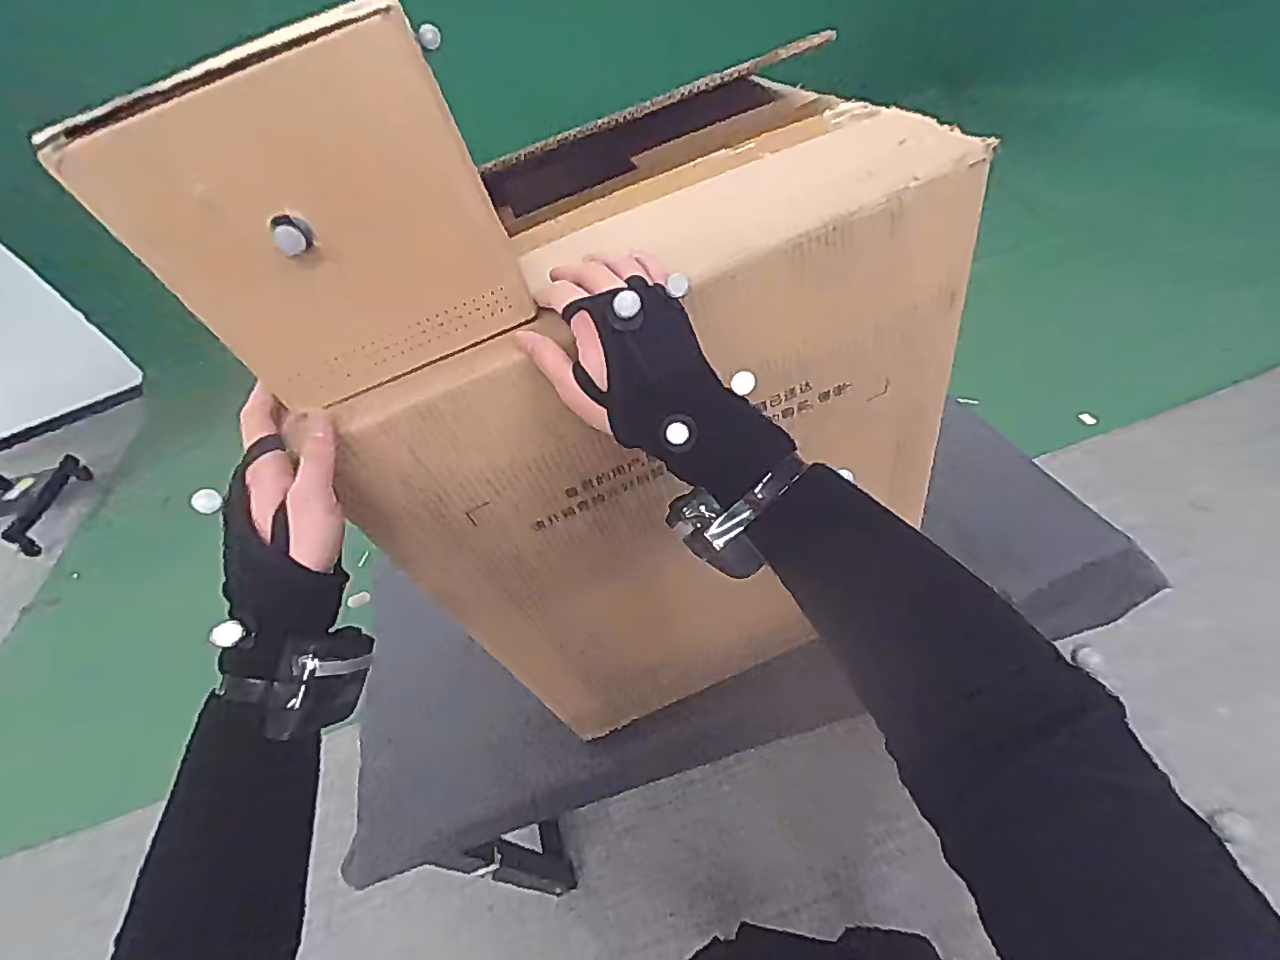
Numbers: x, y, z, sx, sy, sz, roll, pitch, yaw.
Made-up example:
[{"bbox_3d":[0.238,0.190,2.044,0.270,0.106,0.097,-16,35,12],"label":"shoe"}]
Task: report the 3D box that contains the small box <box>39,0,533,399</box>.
[{"bbox_3d":[-0.194,-0.183,0.355,0.179,0.176,0.168,-24,48,0],"label":"small box"}]
